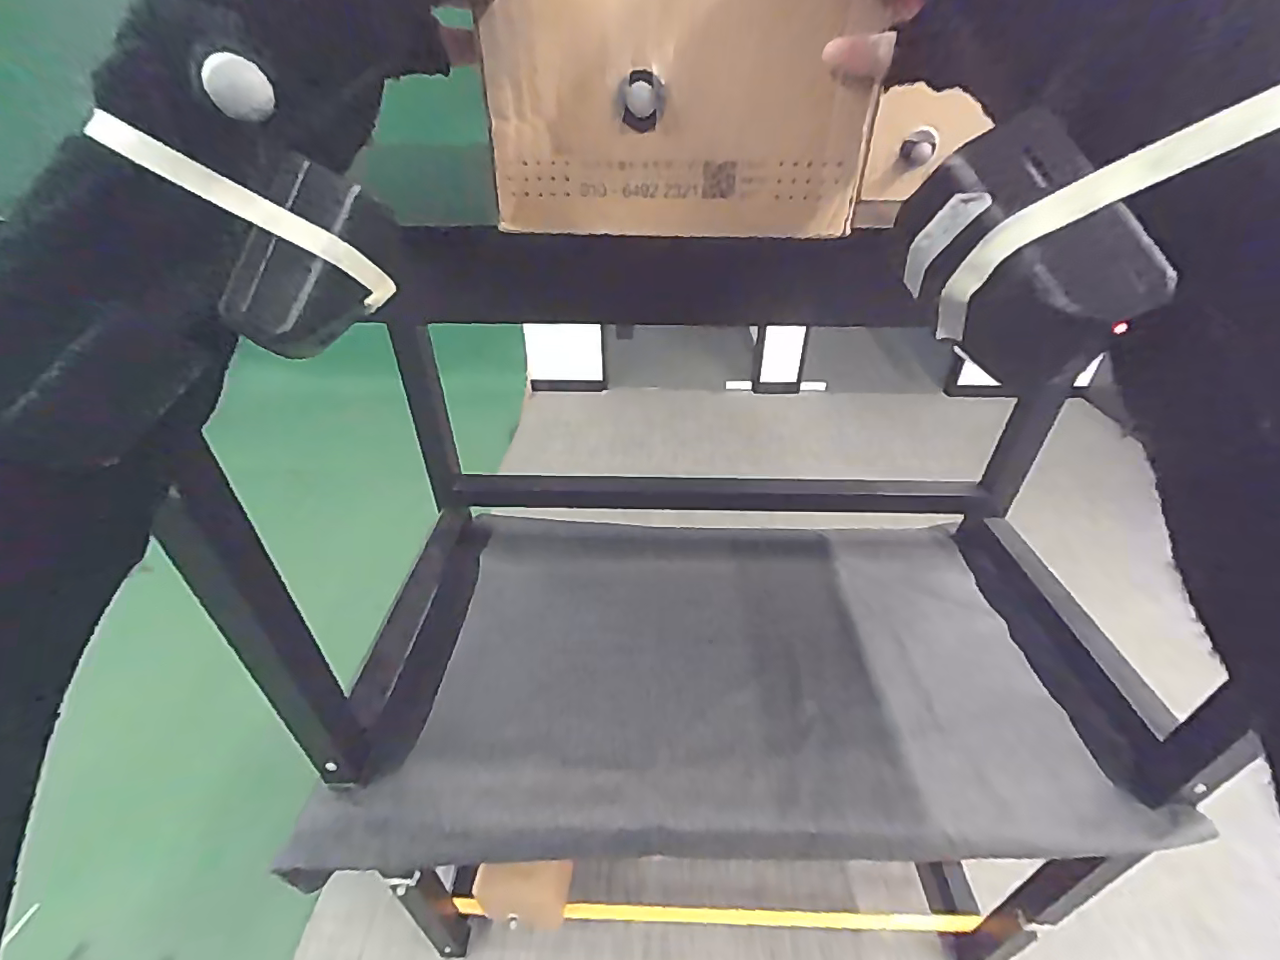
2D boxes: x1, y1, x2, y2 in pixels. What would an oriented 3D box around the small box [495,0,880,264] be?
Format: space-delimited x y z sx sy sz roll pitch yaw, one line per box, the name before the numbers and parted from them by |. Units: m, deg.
small box | 0.021 -0.227 0.299 0.168 0.176 0.179 2 33 3
